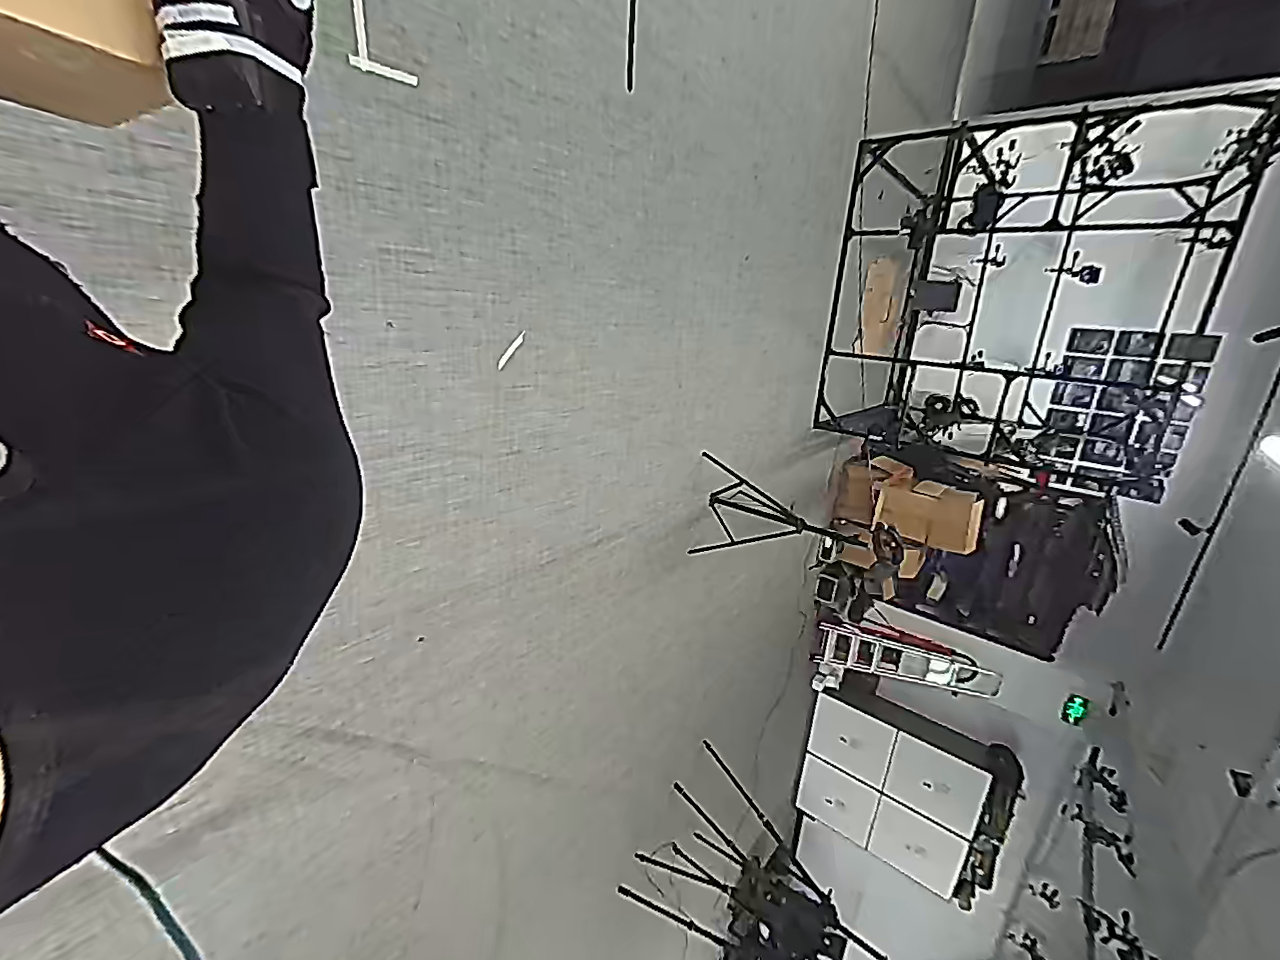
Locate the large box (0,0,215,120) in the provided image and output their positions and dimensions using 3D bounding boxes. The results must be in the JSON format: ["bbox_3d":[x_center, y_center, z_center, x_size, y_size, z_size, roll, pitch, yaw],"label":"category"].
[{"bbox_3d":[-0.524,-0.443,0.275,0.408,0.320,0.320,-12,116,-53],"label":"large box"}]
